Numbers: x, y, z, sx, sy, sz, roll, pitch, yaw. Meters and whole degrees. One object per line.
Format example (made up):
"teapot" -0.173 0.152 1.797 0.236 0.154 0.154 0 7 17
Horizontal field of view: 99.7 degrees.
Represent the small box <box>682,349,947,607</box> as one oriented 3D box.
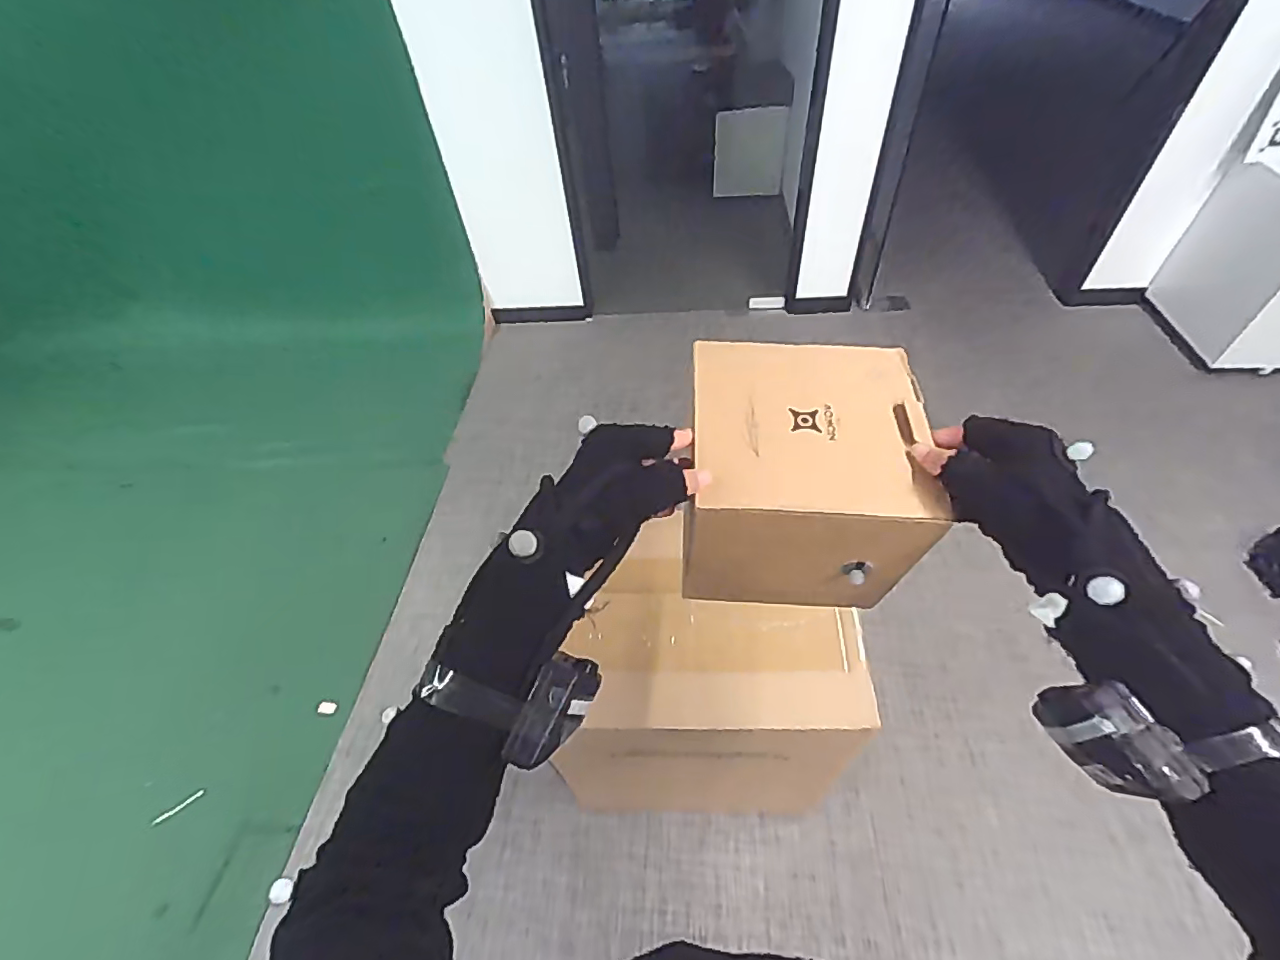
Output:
"small box" 0.128 0.004 0.477 0.179 0.176 0.168 0 55 3
